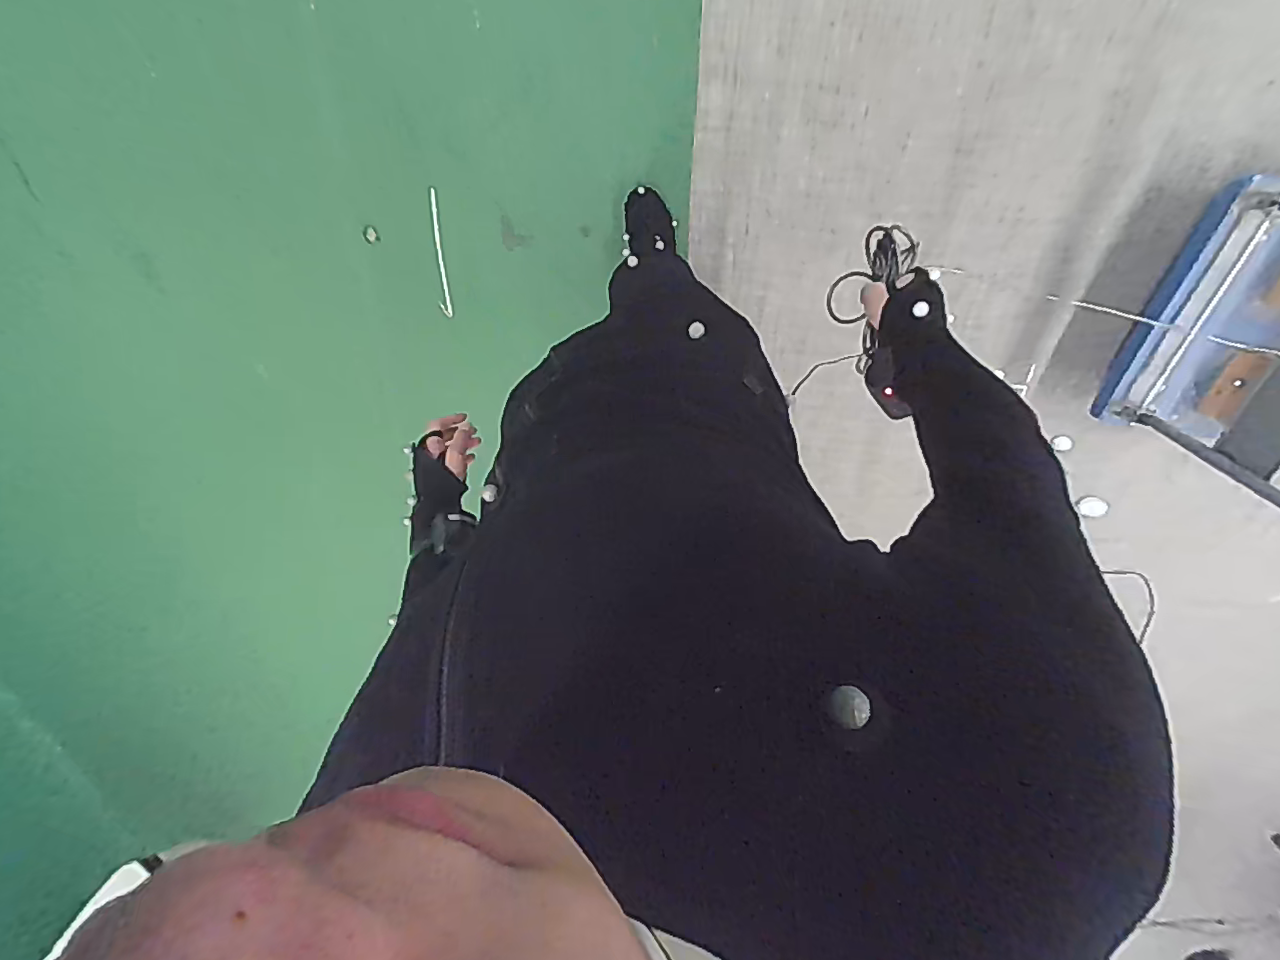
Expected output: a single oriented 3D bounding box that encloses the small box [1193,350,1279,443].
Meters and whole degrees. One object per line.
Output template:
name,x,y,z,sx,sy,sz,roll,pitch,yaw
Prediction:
small box,1.503,-0.195,1.277,0.179,0.176,0.168,9,122,-2
